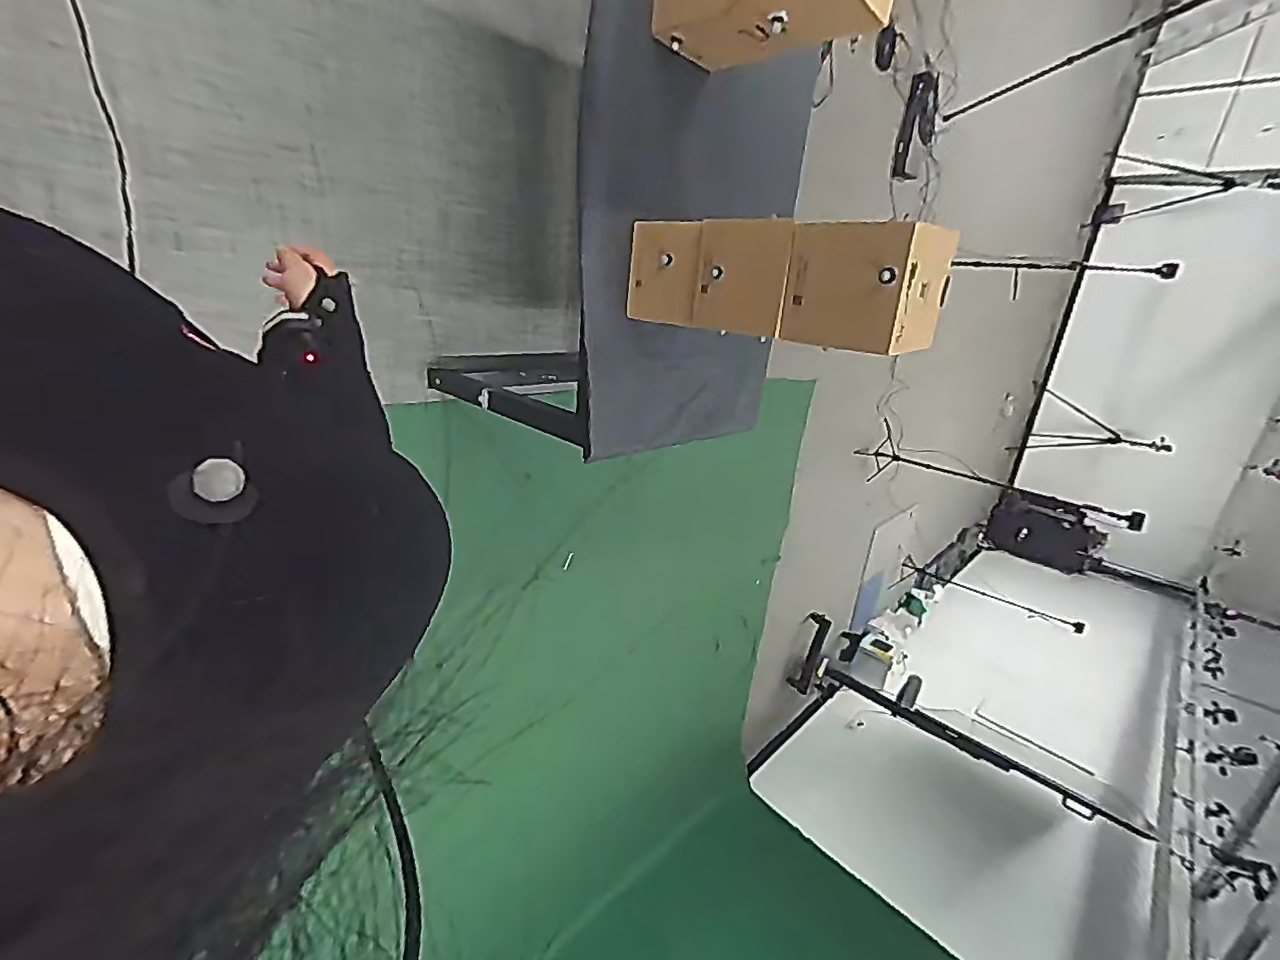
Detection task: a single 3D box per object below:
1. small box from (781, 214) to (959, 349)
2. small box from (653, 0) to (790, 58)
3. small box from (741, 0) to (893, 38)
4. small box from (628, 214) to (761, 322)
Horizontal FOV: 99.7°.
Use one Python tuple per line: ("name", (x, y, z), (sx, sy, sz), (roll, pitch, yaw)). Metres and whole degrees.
("small box", (0.331, -0.291, 0.789), (0.179, 0.176, 0.168), (-19, 121, -43))
("small box", (0.138, -0.803, 0.849), (0.168, 0.176, 0.179), (-14, 117, -45))
("small box", (0.252, -0.757, 0.742), (0.168, 0.176, 0.179), (-12, 117, -44))
("small box", (0.096, -0.385, 0.998), (0.179, 0.176, 0.168), (-15, 118, -45))
